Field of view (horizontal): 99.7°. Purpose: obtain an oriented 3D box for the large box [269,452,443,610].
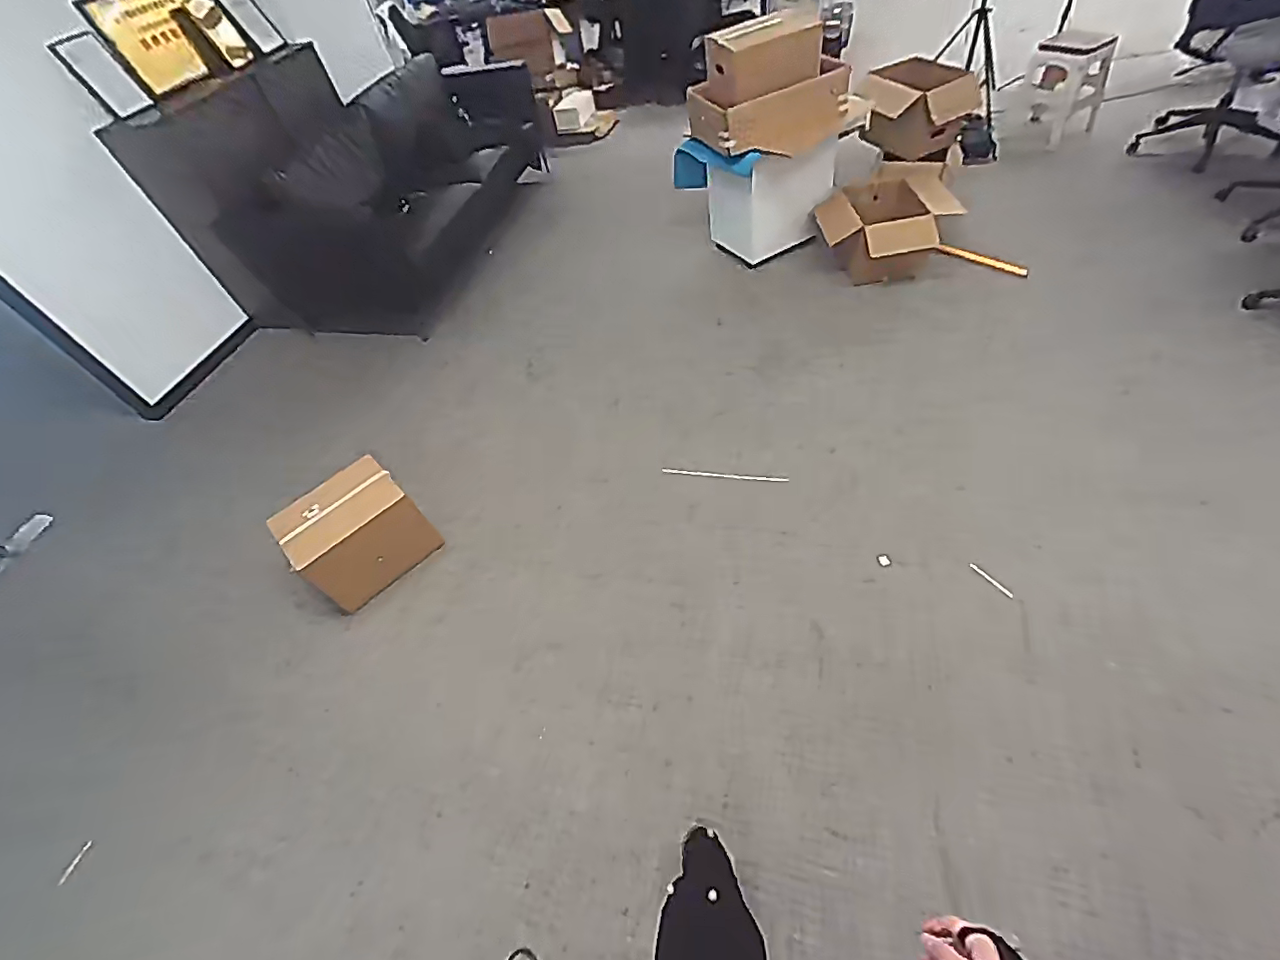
[{"bbox_3d":[-1.009,0.183,1.957,0.408,0.320,0.320,-41,54,-20],"label":"large box"}]
